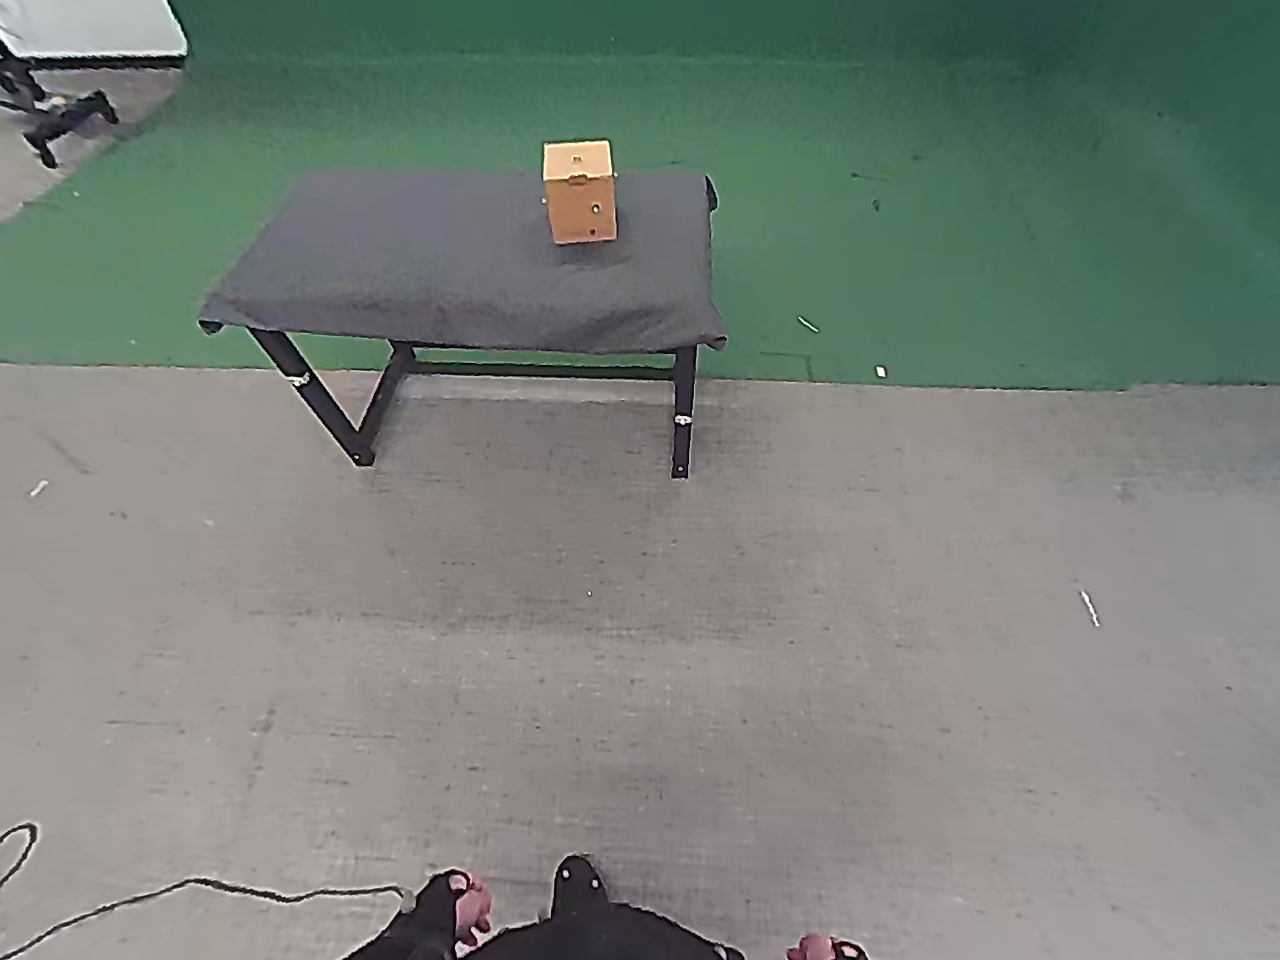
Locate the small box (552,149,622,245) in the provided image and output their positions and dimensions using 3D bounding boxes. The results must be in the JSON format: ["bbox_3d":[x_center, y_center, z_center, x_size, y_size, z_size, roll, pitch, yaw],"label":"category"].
[{"bbox_3d":[-0.134,-0.729,1.404,0.168,0.176,0.179,-4,54,-3],"label":"small box"}]
